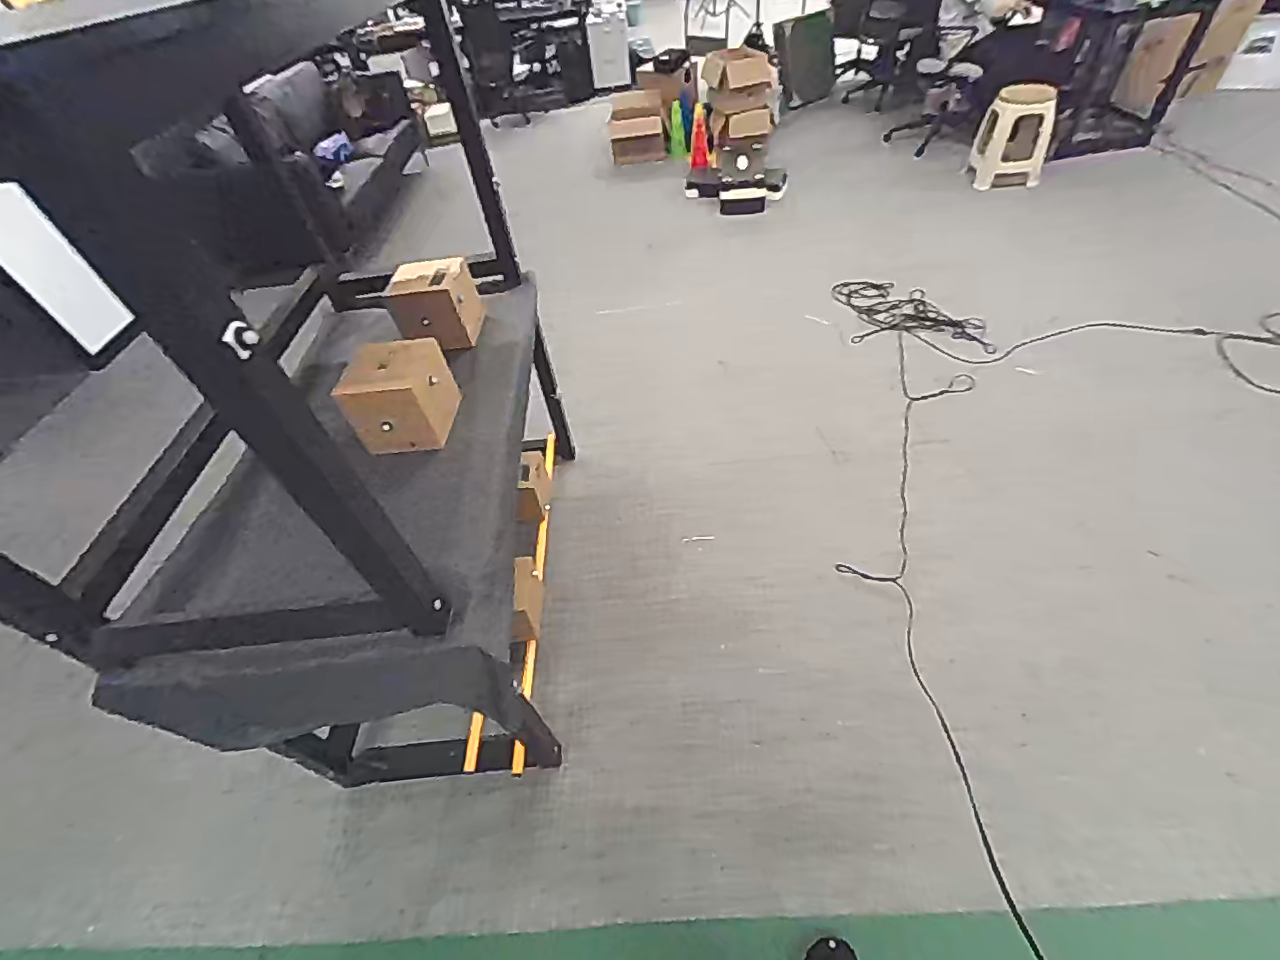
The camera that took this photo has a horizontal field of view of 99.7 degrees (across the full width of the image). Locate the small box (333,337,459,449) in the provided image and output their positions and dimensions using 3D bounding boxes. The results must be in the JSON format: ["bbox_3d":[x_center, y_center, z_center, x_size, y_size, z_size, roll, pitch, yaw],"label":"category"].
[{"bbox_3d":[-0.507,-0.179,1.155,0.168,0.176,0.179,-4,48,5],"label":"small box"}]

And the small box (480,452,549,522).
[{"bbox_3d":[-0.409,0.026,1.804,0.179,0.176,0.168,-3,47,5],"label":"small box"}]
